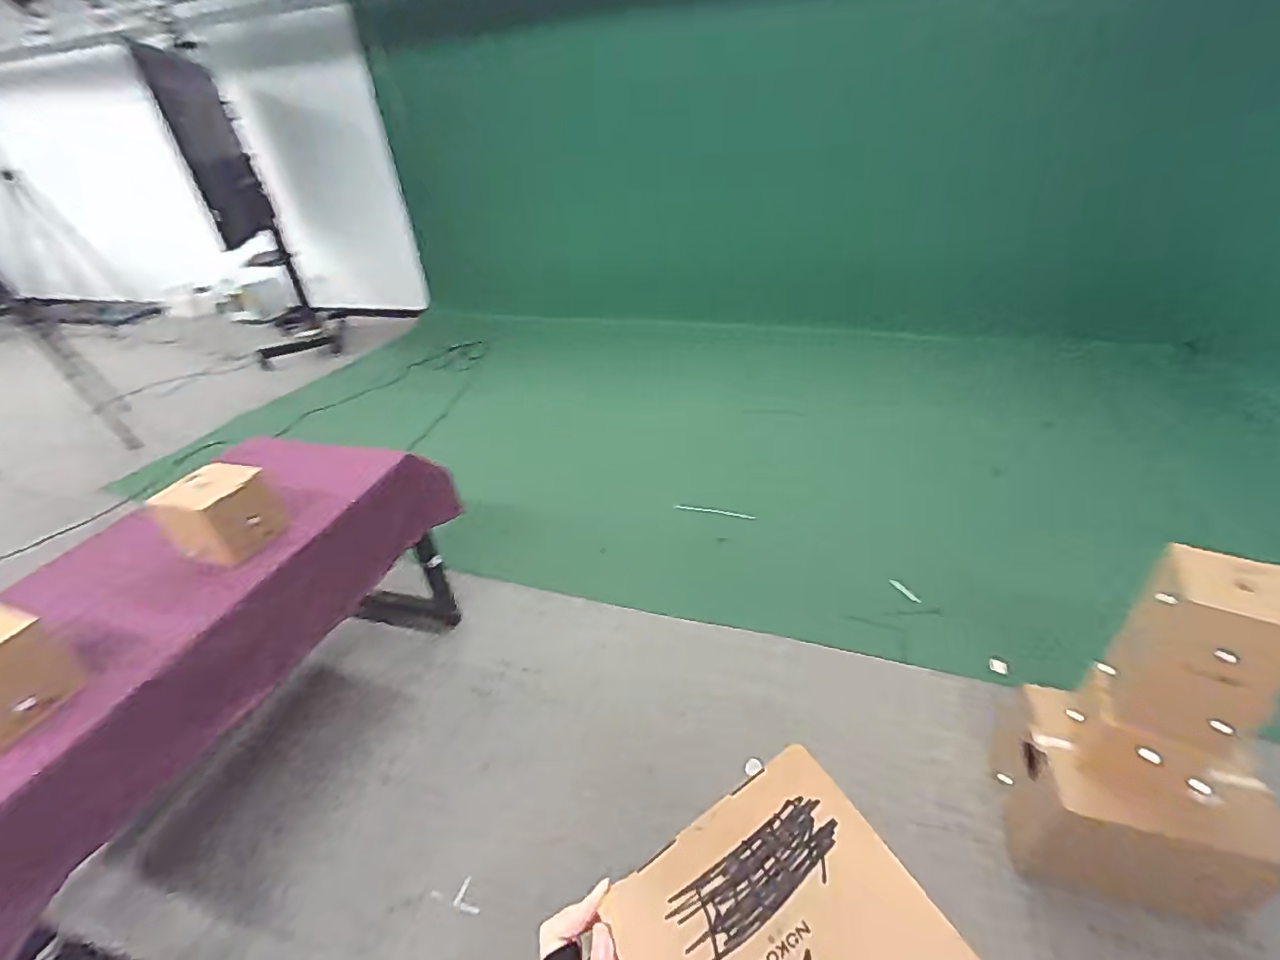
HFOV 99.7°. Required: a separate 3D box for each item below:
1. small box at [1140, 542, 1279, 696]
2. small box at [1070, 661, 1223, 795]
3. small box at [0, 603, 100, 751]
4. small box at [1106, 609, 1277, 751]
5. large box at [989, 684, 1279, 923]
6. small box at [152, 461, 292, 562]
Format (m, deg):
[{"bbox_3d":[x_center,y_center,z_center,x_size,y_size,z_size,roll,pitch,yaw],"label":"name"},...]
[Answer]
[{"bbox_3d":[1.039,0.247,0.966,0.168,0.176,0.179,17,39,28],"label":"small box"},{"bbox_3d":[1.049,0.525,1.139,0.179,0.176,0.168,14,38,25],"label":"small box"},{"bbox_3d":[-1.119,0.338,0.934,0.179,0.176,0.168,8,36,17],"label":"small box"},{"bbox_3d":[1.050,0.389,1.050,0.179,0.176,0.168,15,38,28],"label":"small box"},{"bbox_3d":[1.111,0.734,1.256,0.408,0.320,0.320,8,36,15],"label":"large box"},{"bbox_3d":[-0.988,0.077,1.299,0.179,0.176,0.168,7,36,16],"label":"small box"}]
